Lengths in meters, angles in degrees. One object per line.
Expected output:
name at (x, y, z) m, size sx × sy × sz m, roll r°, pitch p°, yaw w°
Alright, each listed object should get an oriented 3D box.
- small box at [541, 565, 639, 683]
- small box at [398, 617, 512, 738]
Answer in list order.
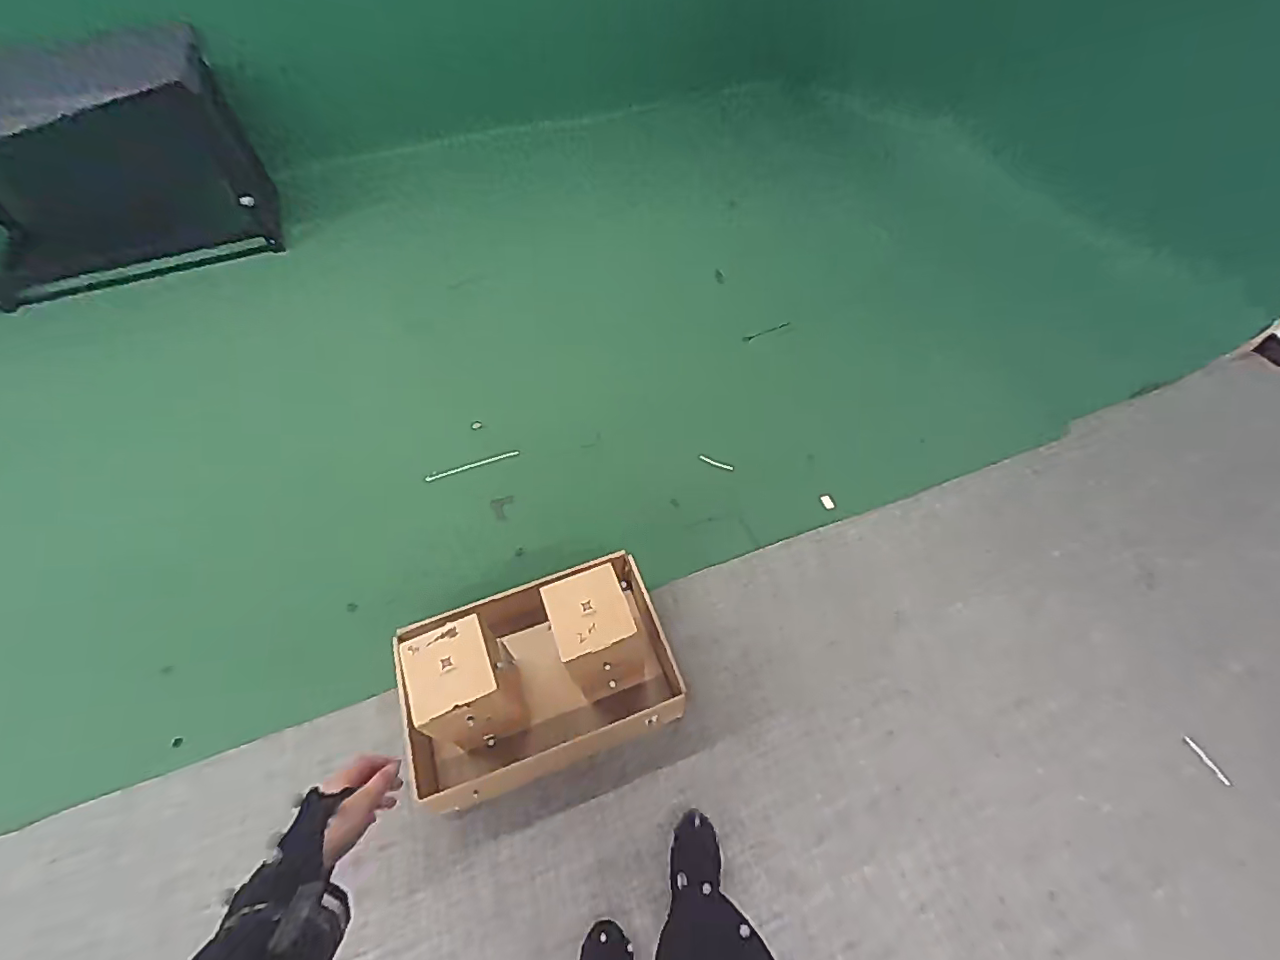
small box at (-0.107, 0.320, 1.192) m, size 0.168 × 0.176 × 0.179 m, roll -19°, pitch 58°, yaw -10°
small box at (-0.380, 0.420, 1.132) m, size 0.168 × 0.176 × 0.179 m, roll -21°, pitch 58°, yaw -12°
